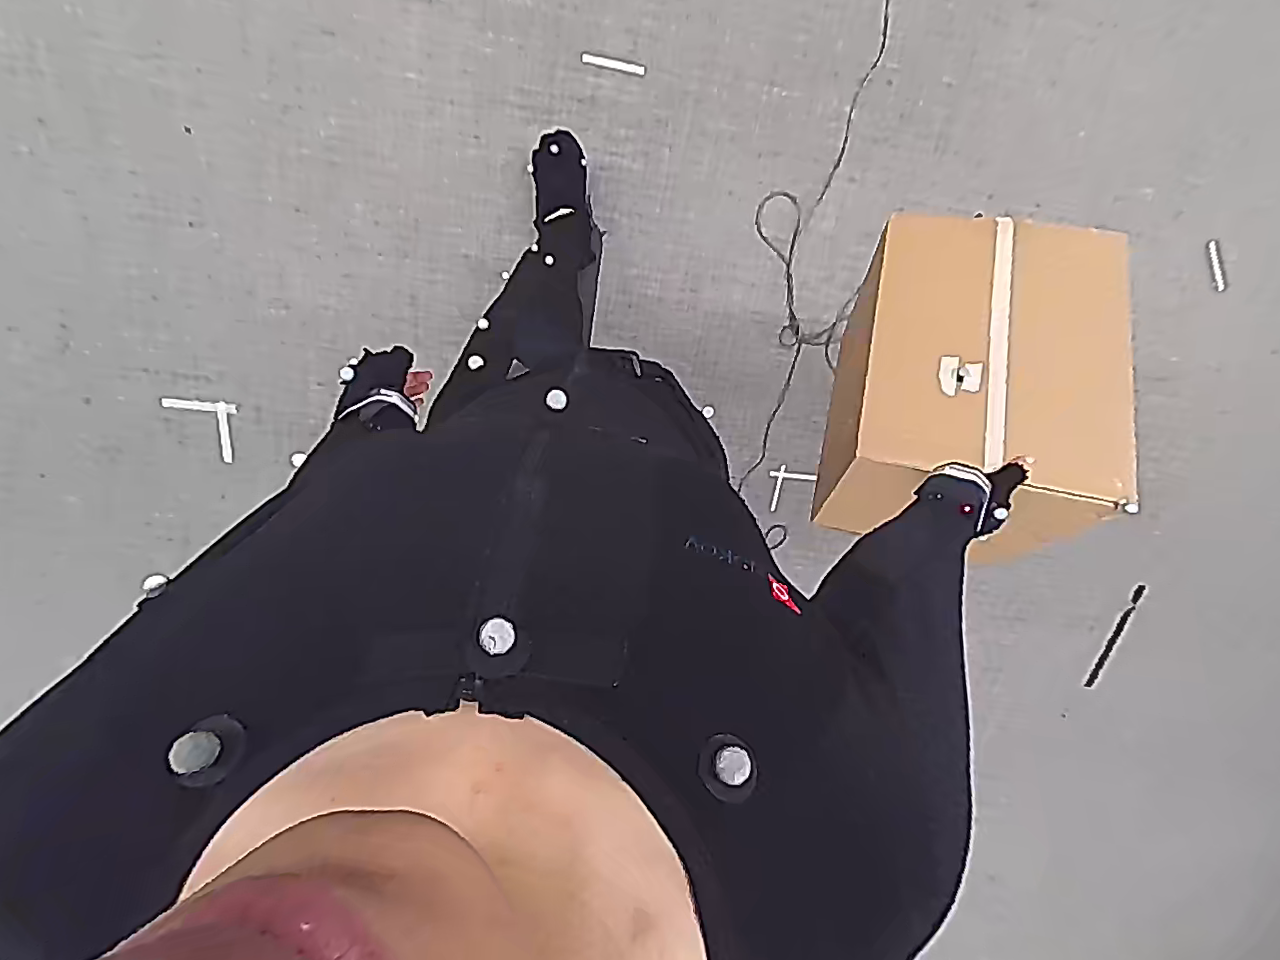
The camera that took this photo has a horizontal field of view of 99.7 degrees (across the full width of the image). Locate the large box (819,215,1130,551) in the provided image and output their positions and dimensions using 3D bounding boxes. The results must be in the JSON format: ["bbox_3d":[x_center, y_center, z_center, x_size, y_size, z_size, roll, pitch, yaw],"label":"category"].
[{"bbox_3d":[0.498,-0.137,0.864,0.320,0.320,0.408,12,73,11],"label":"large box"}]
